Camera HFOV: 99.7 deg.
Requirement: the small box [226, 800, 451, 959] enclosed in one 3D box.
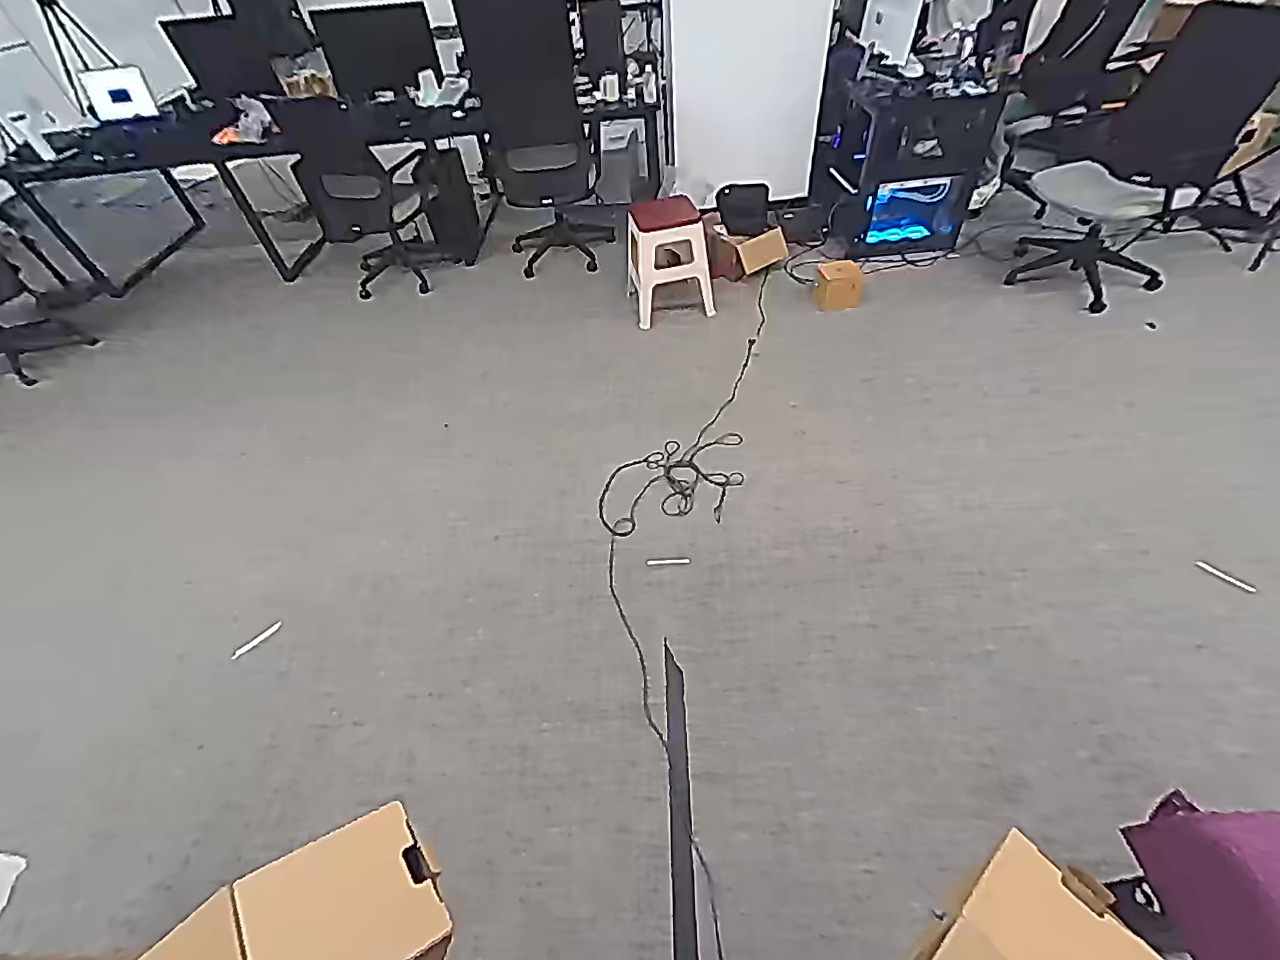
[{"bbox_3d":[-0.335,0.515,0.602,0.179,0.176,0.168,-8,39,-44],"label":"small box"}]
